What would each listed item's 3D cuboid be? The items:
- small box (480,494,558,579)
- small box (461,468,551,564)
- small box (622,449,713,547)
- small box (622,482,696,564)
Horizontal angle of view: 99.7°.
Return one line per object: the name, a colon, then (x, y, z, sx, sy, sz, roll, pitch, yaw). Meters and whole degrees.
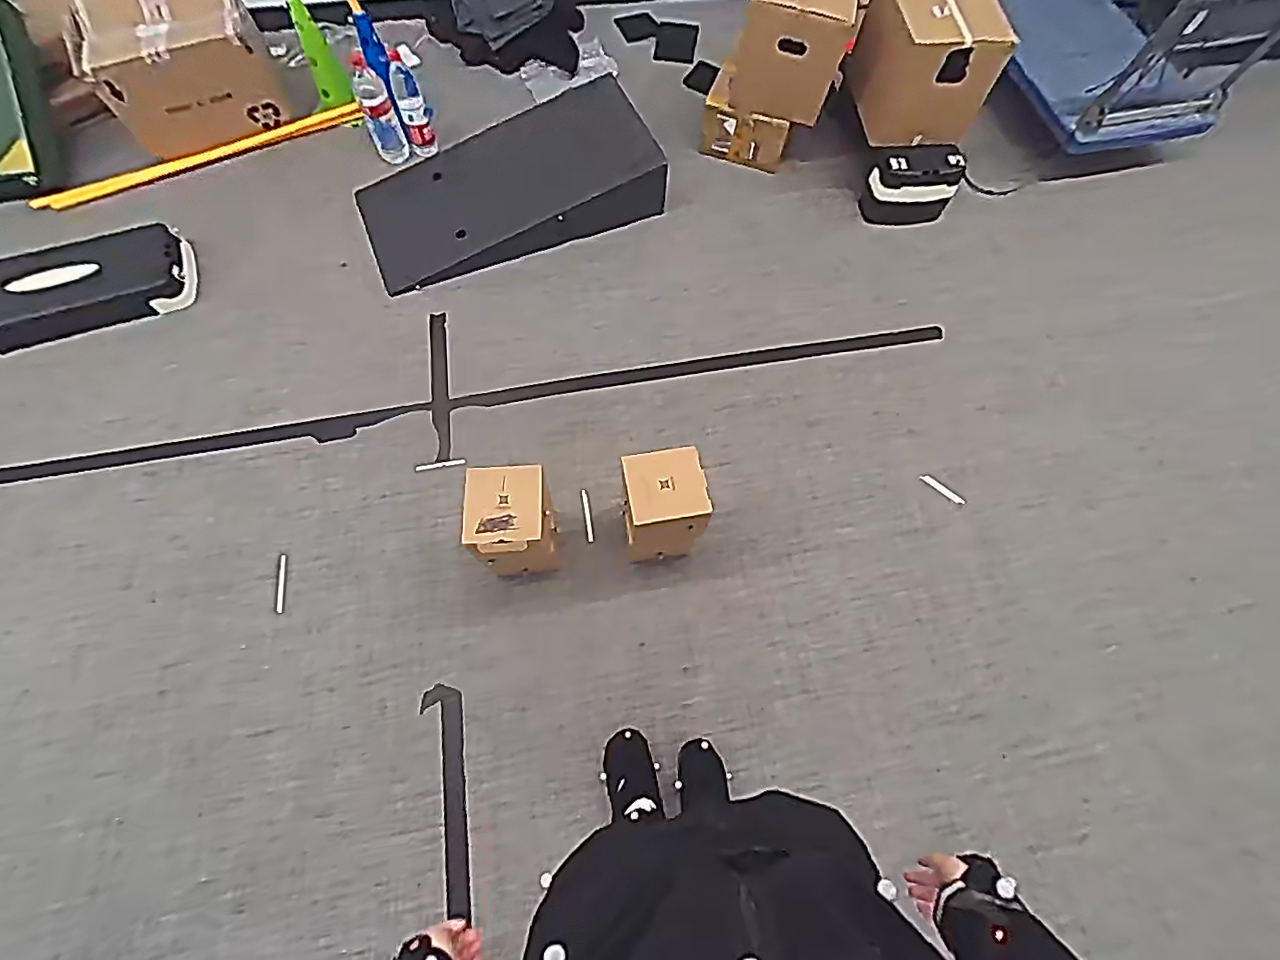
small box: (-0.303, 0.145, 1.368, 0.179, 0.176, 0.168, -6, 68, -6)
small box: (-0.292, 0.087, 1.214, 0.168, 0.176, 0.179, -3, 67, -3)
small box: (0.056, 0.046, 1.245, 0.179, 0.176, 0.168, -9, 67, -5)
small box: (0.042, 0.104, 1.397, 0.168, 0.176, 0.179, -7, 68, -4)
